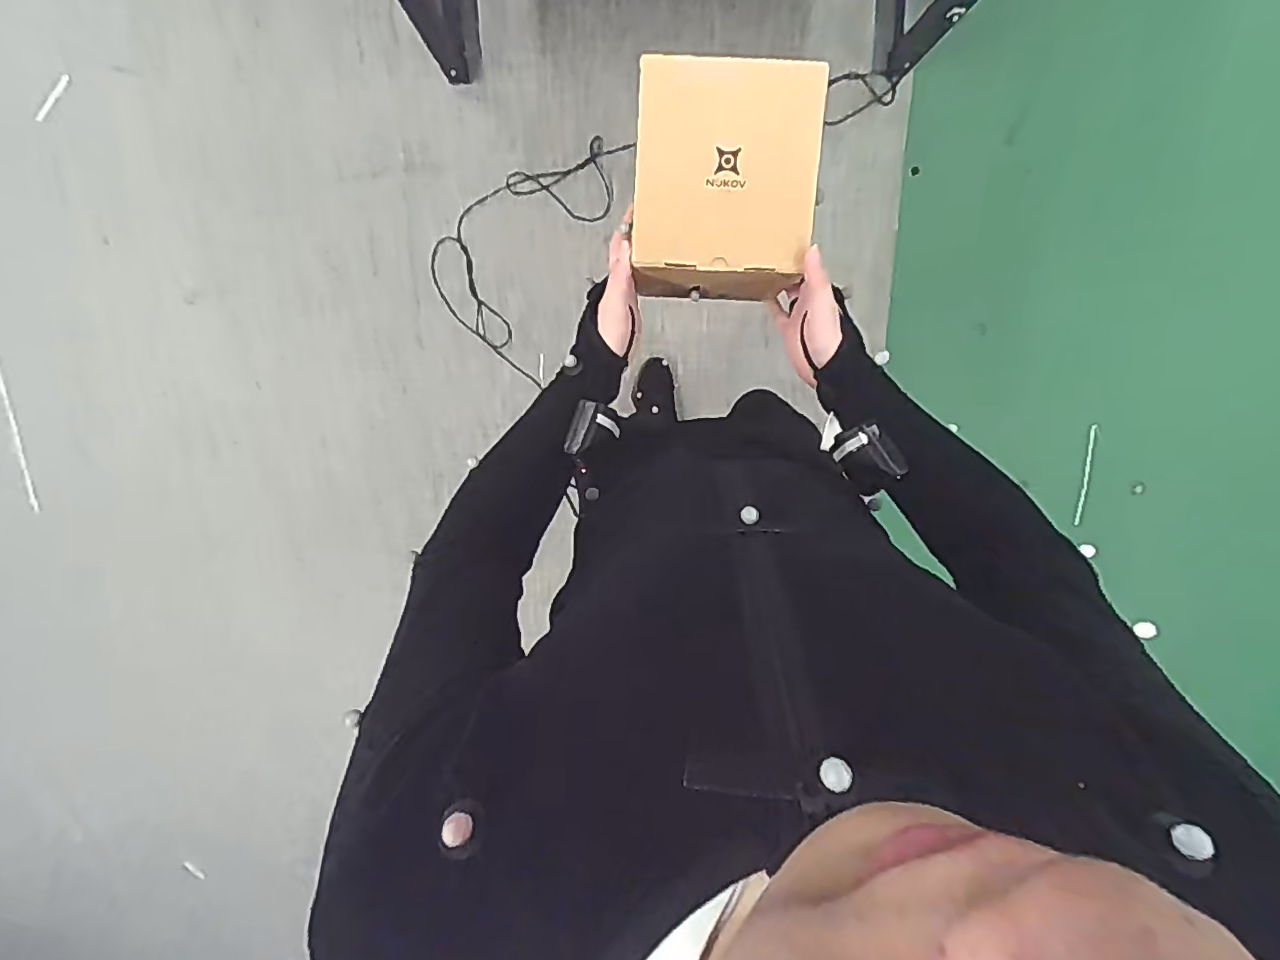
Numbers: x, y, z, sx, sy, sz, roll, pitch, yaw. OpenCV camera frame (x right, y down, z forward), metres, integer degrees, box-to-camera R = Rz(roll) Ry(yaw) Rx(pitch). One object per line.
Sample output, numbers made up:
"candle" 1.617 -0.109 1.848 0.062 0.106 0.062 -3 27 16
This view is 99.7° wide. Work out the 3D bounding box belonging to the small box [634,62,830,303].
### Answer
"small box" 0.080 -0.290 0.565 0.168 0.176 0.179 3 102 -1
